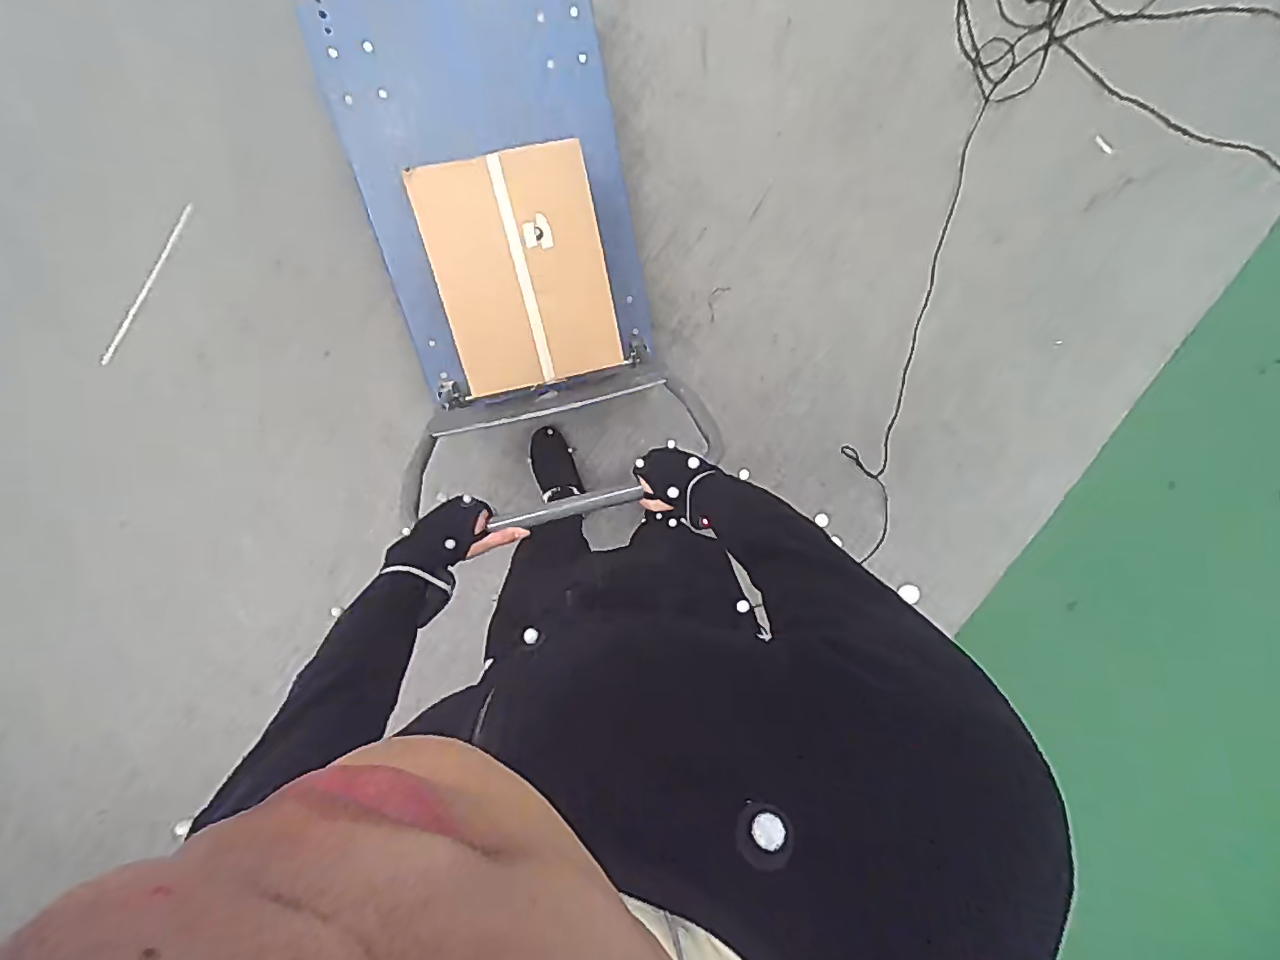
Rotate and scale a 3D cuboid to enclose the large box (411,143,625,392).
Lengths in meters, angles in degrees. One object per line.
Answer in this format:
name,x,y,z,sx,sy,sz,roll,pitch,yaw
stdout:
large box,-0.238,-0.441,1.164,0.320,0.320,0.408,-13,113,-5
